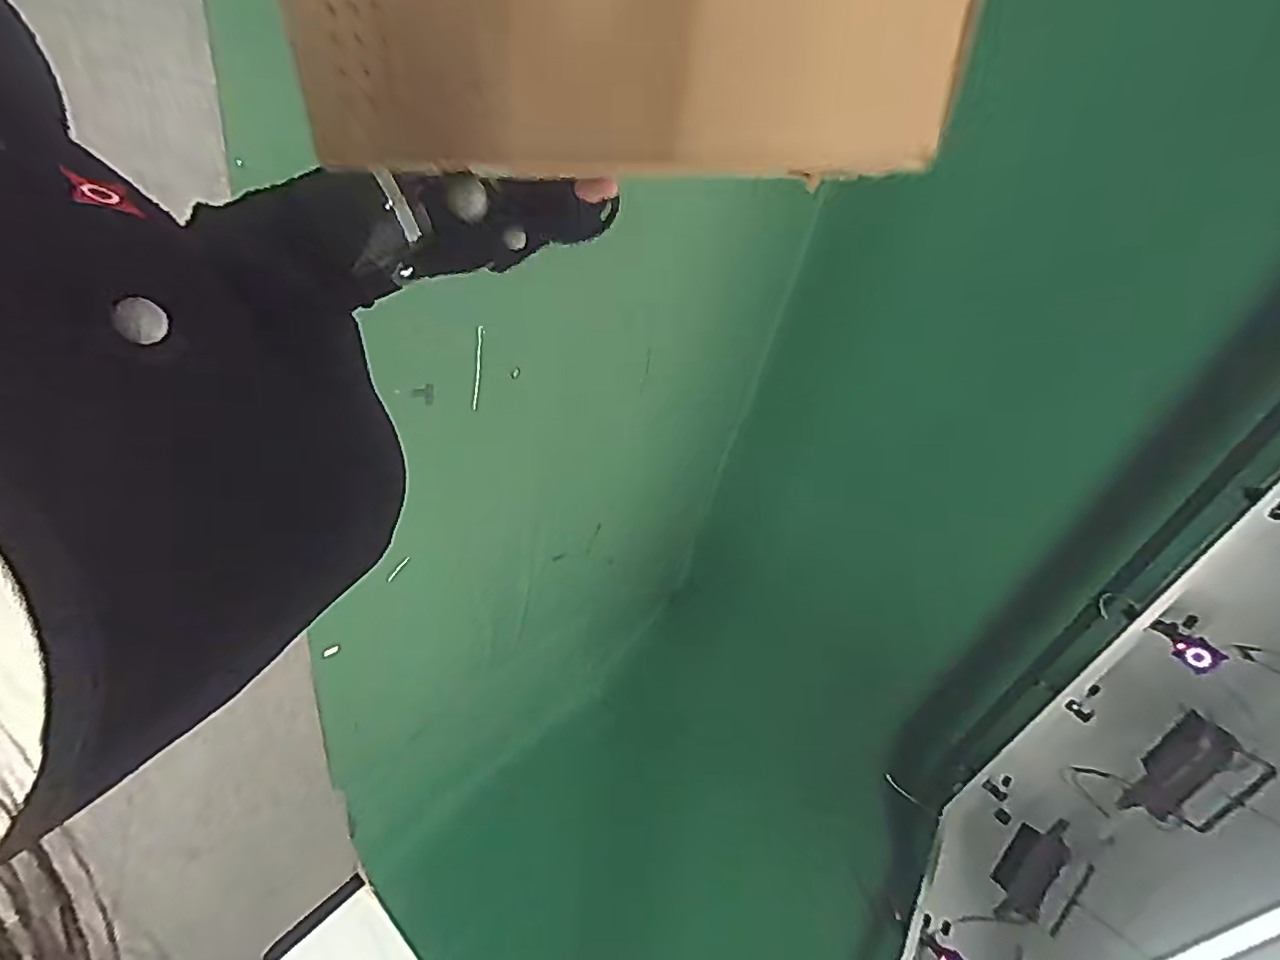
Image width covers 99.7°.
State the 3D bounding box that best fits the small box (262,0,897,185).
[{"bbox_3d":[-0.009,-0.200,0.178,0.168,0.176,0.179,-69,162,-60],"label":"small box"}]
